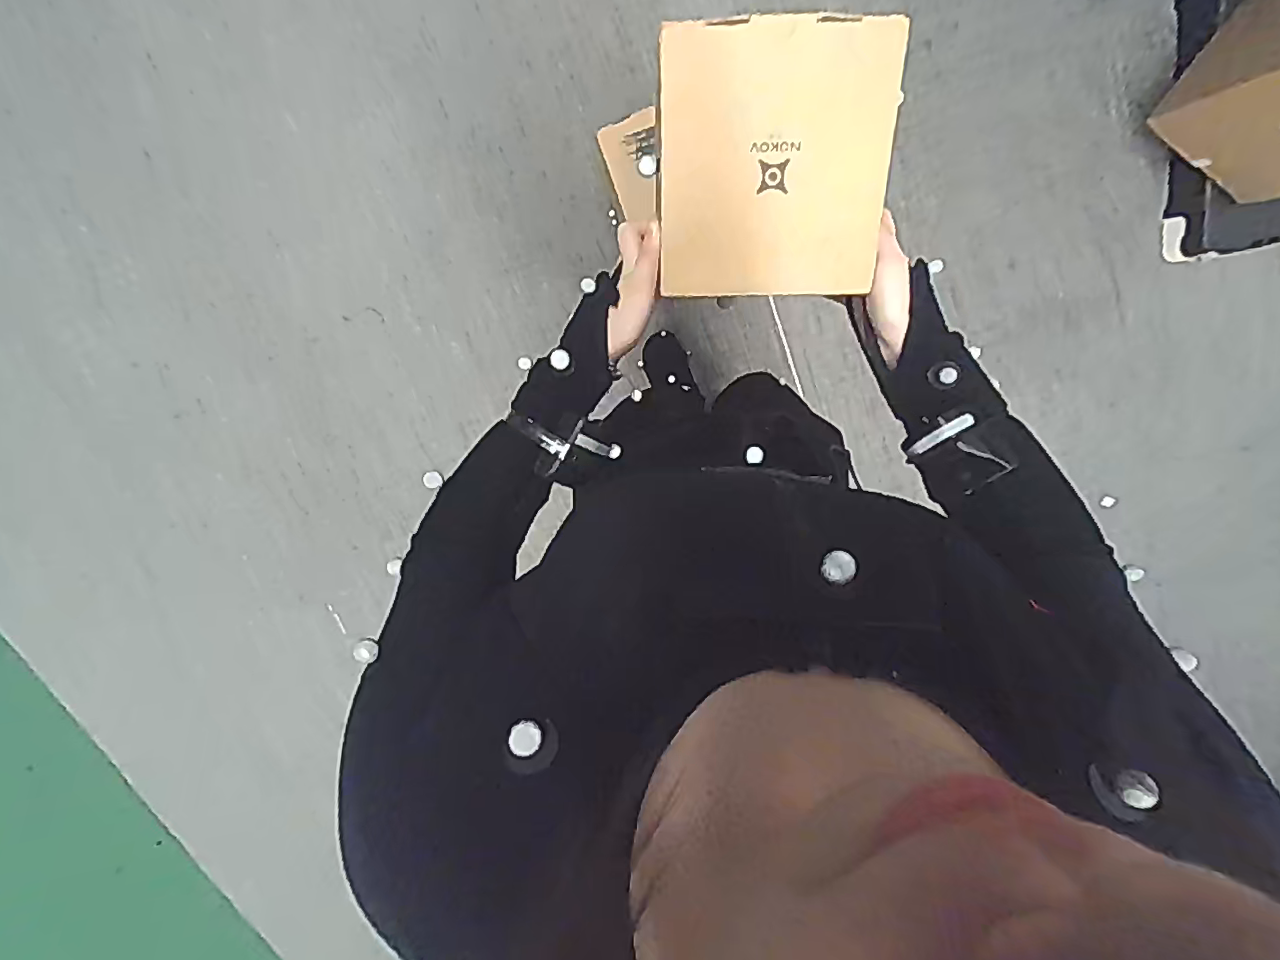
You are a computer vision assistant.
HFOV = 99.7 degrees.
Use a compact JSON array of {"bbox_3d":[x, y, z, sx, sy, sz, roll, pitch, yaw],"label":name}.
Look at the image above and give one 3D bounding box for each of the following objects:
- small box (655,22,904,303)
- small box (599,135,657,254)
[{"bbox_3d":[0.097,-0.251,0.464,0.168,0.176,0.179,-1,112,2],"label":"small box"},{"bbox_3d":[0.031,-0.569,1.083,0.179,0.176,0.168,-20,107,6],"label":"small box"}]
